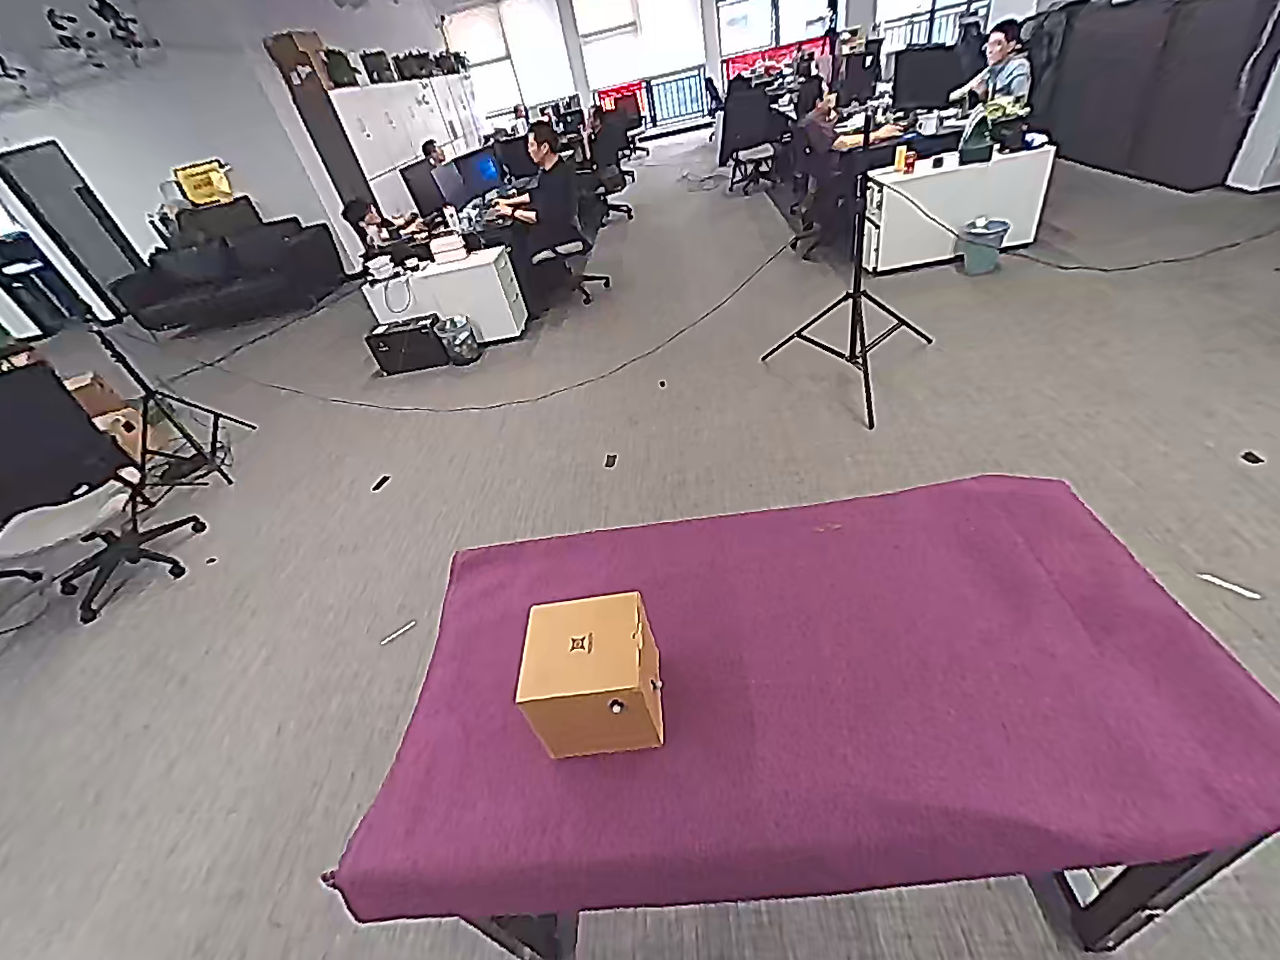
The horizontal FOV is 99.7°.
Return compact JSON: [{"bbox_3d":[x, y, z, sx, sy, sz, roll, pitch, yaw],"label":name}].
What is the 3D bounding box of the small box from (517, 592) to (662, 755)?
[{"bbox_3d":[-0.068,0.300,0.831,0.179,0.176,0.168,-9,37,5],"label":"small box"}]
